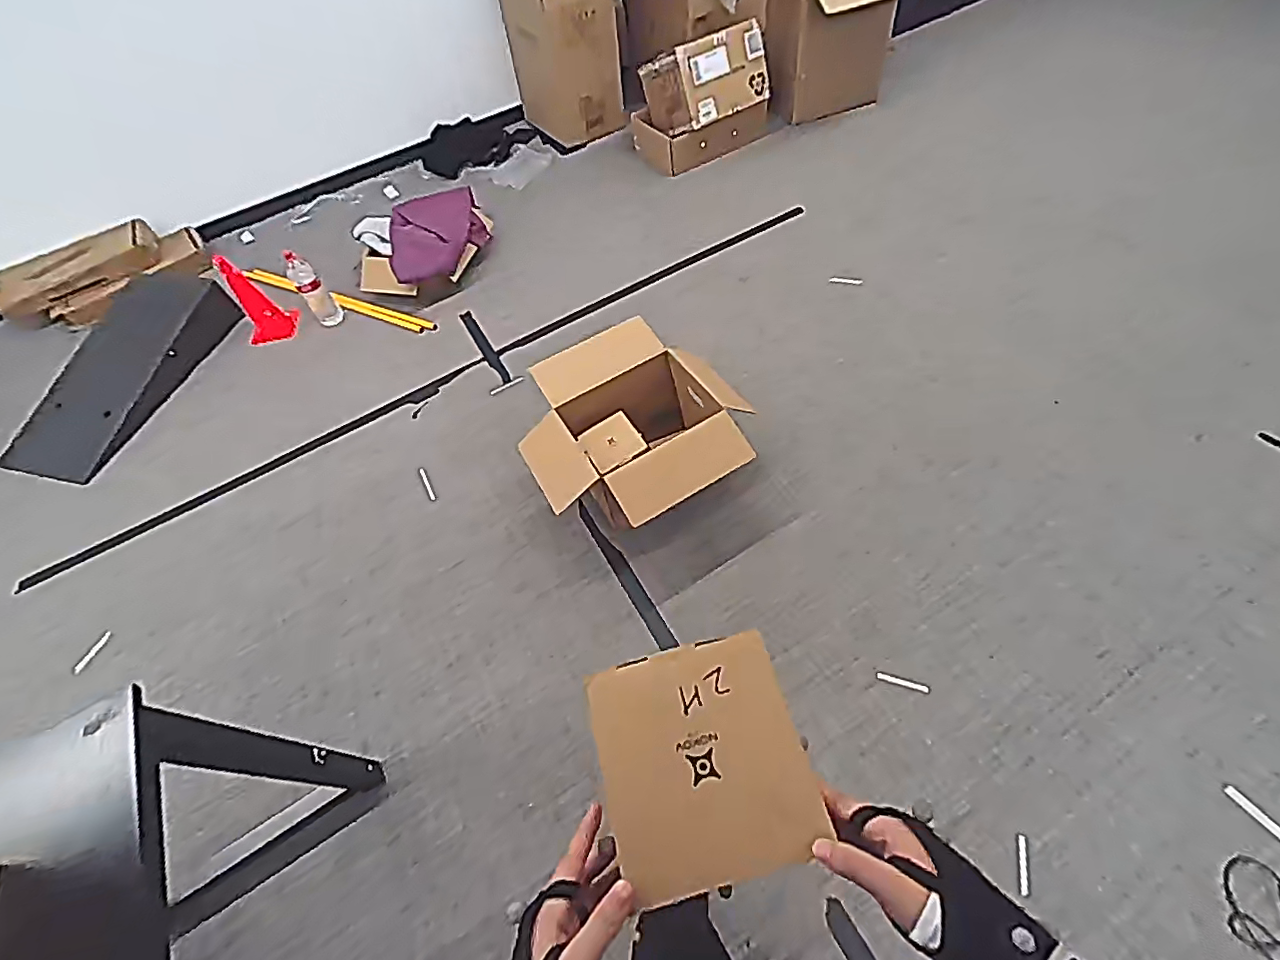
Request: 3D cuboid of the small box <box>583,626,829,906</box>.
[{"bbox_3d":[0.052,0.264,0.512,0.168,0.176,0.179,-14,57,-5],"label":"small box"}]
